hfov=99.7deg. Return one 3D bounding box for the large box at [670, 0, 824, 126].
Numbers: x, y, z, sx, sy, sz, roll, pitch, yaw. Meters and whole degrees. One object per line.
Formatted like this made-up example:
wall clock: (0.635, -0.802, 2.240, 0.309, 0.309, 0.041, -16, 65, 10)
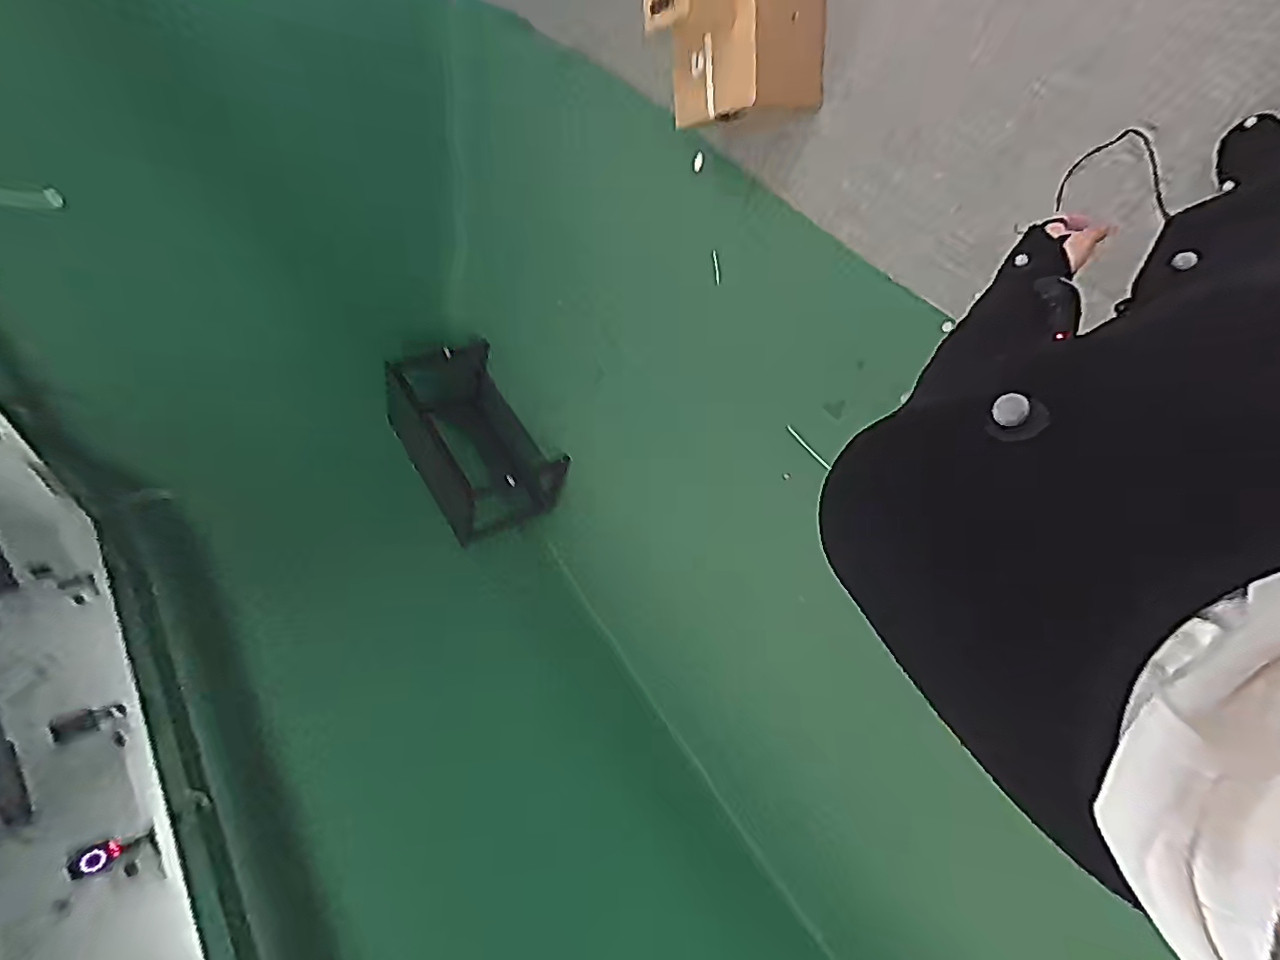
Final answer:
large box: (0.309, -1.280, 1.541, 0.320, 0.320, 0.408, 22, 128, 48)
